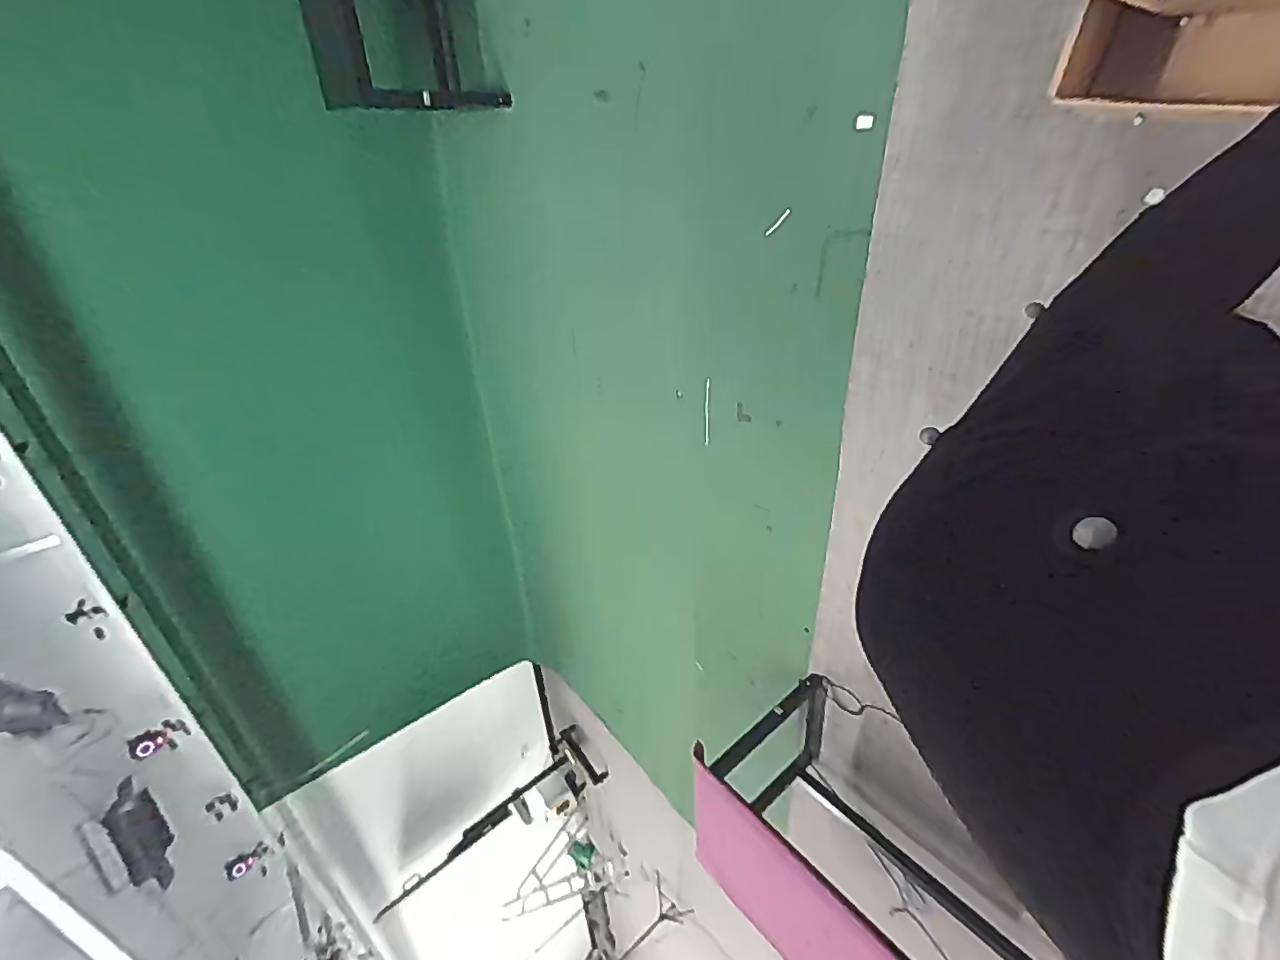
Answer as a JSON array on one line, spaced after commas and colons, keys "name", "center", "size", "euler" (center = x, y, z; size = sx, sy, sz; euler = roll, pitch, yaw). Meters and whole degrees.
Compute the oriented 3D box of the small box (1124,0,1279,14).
[{"name": "small box", "center": [0.600, -0.591, 0.529], "size": [0.168, 0.176, 0.179], "euler": [34, 135, 41]}]
